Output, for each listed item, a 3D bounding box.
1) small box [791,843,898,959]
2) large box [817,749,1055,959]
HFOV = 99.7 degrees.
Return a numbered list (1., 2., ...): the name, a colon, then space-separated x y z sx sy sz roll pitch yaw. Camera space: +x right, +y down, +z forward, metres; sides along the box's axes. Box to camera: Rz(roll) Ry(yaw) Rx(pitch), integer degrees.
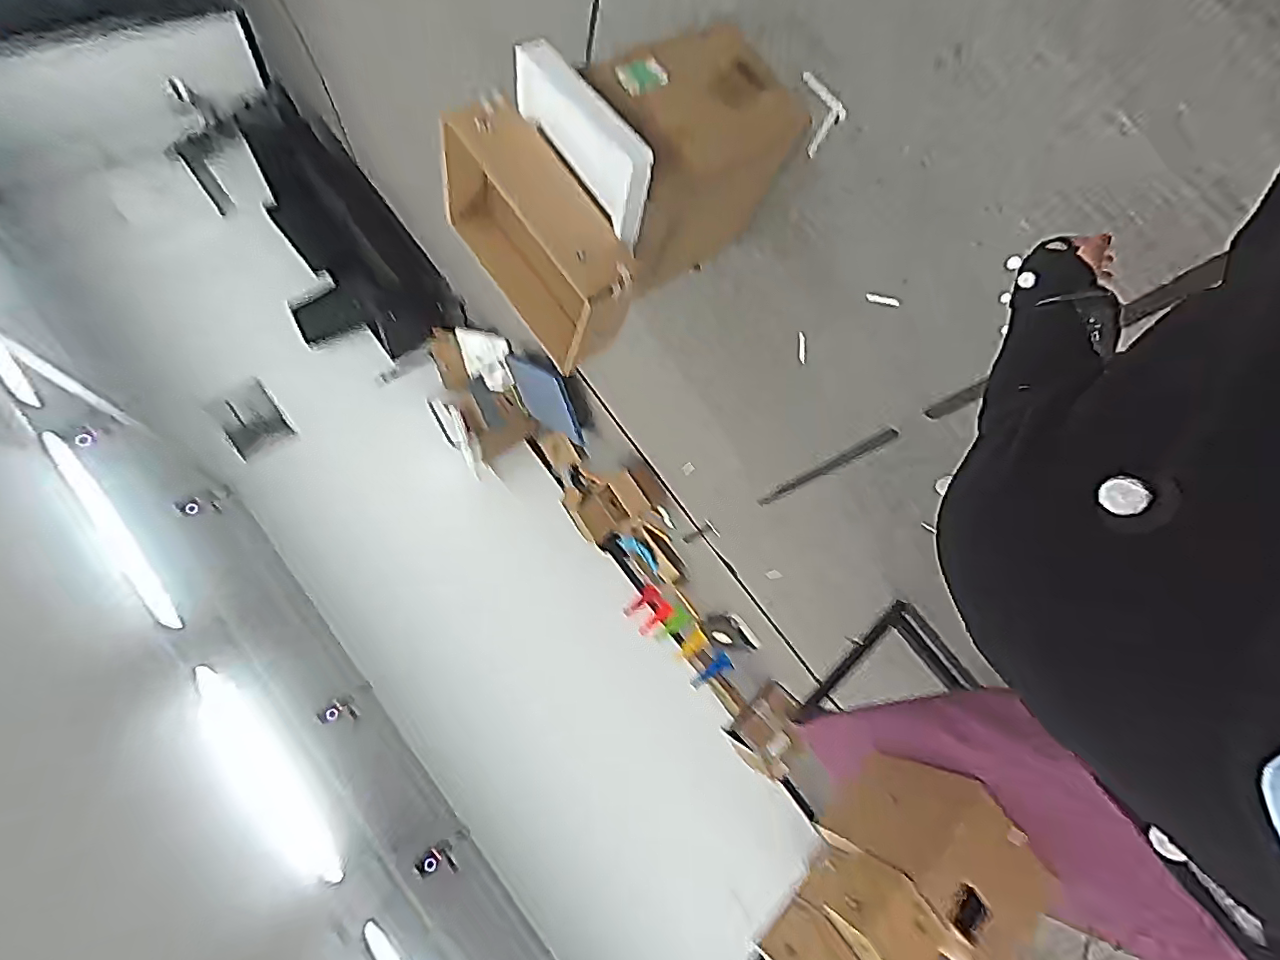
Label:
1. small box: 0.561 1.151 1.479 0.179 0.176 0.168 53 156 4
2. large box: 0.777 0.988 1.467 0.320 0.320 0.408 51 157 3
